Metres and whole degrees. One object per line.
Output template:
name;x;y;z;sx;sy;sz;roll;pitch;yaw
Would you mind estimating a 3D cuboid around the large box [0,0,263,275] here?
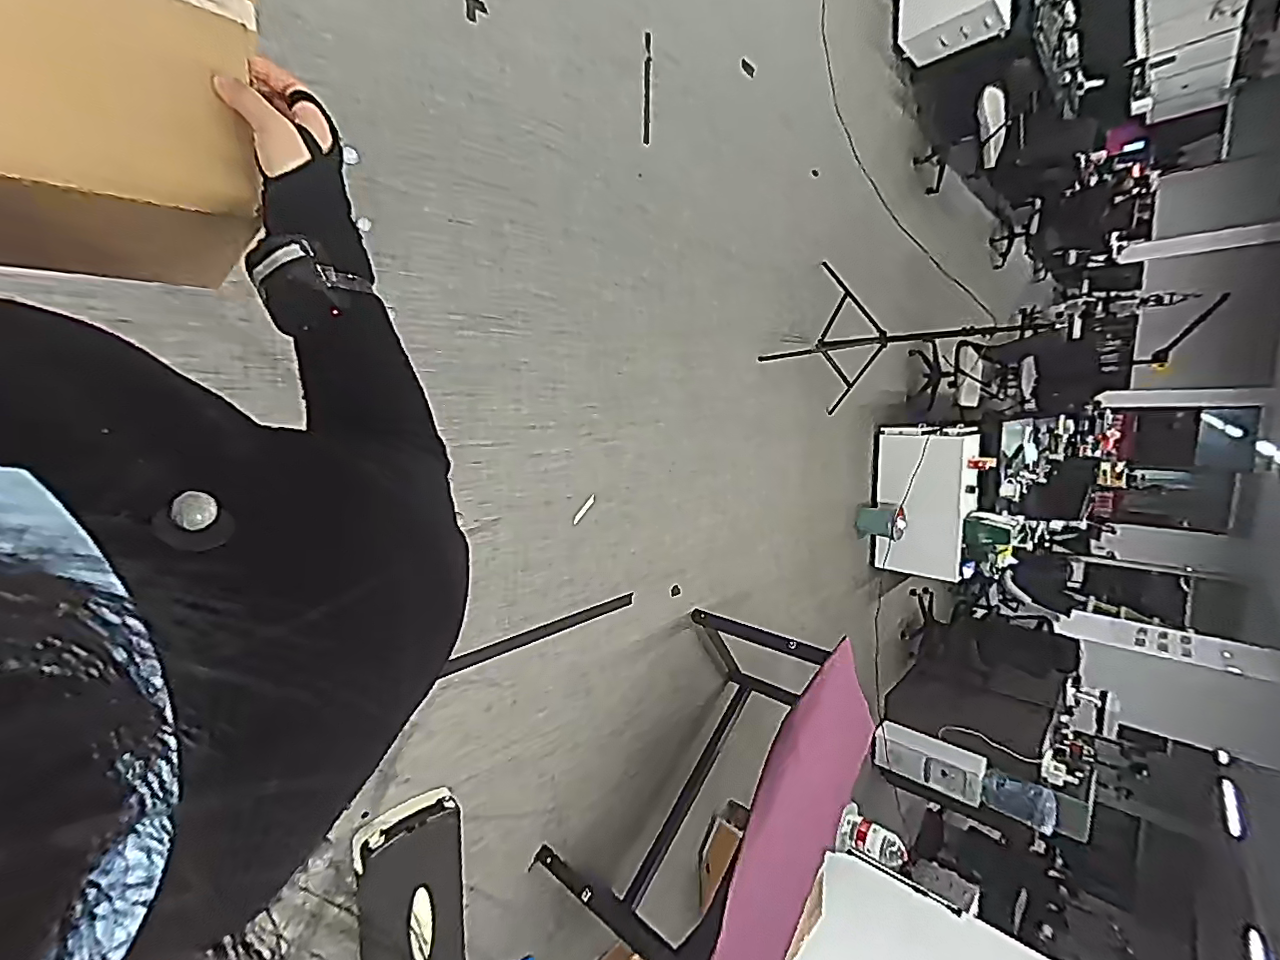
large box;-0.564;-0.362;0.407;0.408;0.320;0.320;-8;99;-42
